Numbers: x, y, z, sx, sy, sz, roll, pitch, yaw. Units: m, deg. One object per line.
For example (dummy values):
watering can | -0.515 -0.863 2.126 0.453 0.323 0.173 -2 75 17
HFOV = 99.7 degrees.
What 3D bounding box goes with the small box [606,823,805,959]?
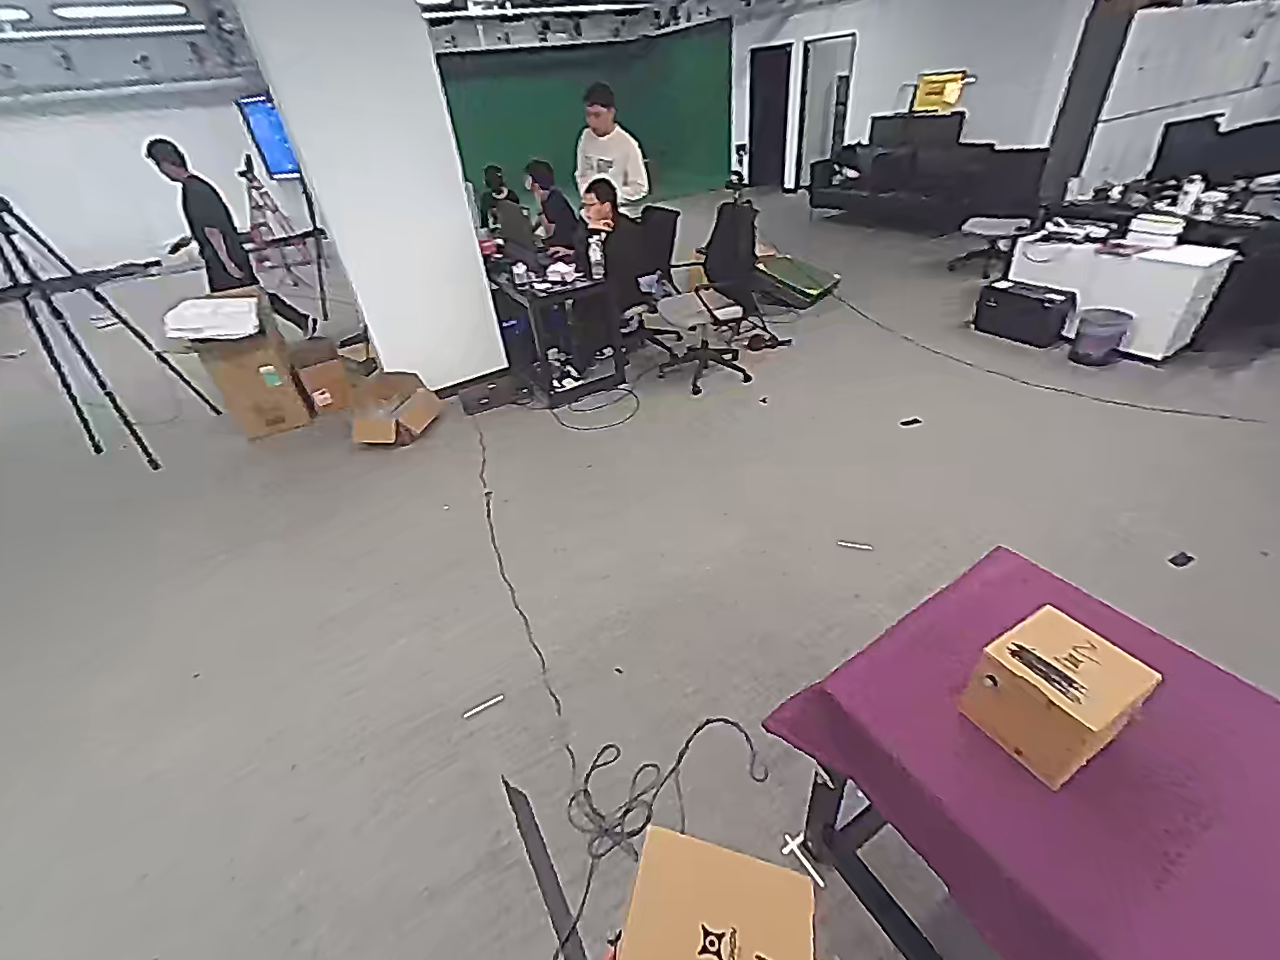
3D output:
small box | 0.054 0.488 0.536 0.179 0.176 0.168 14 35 7
